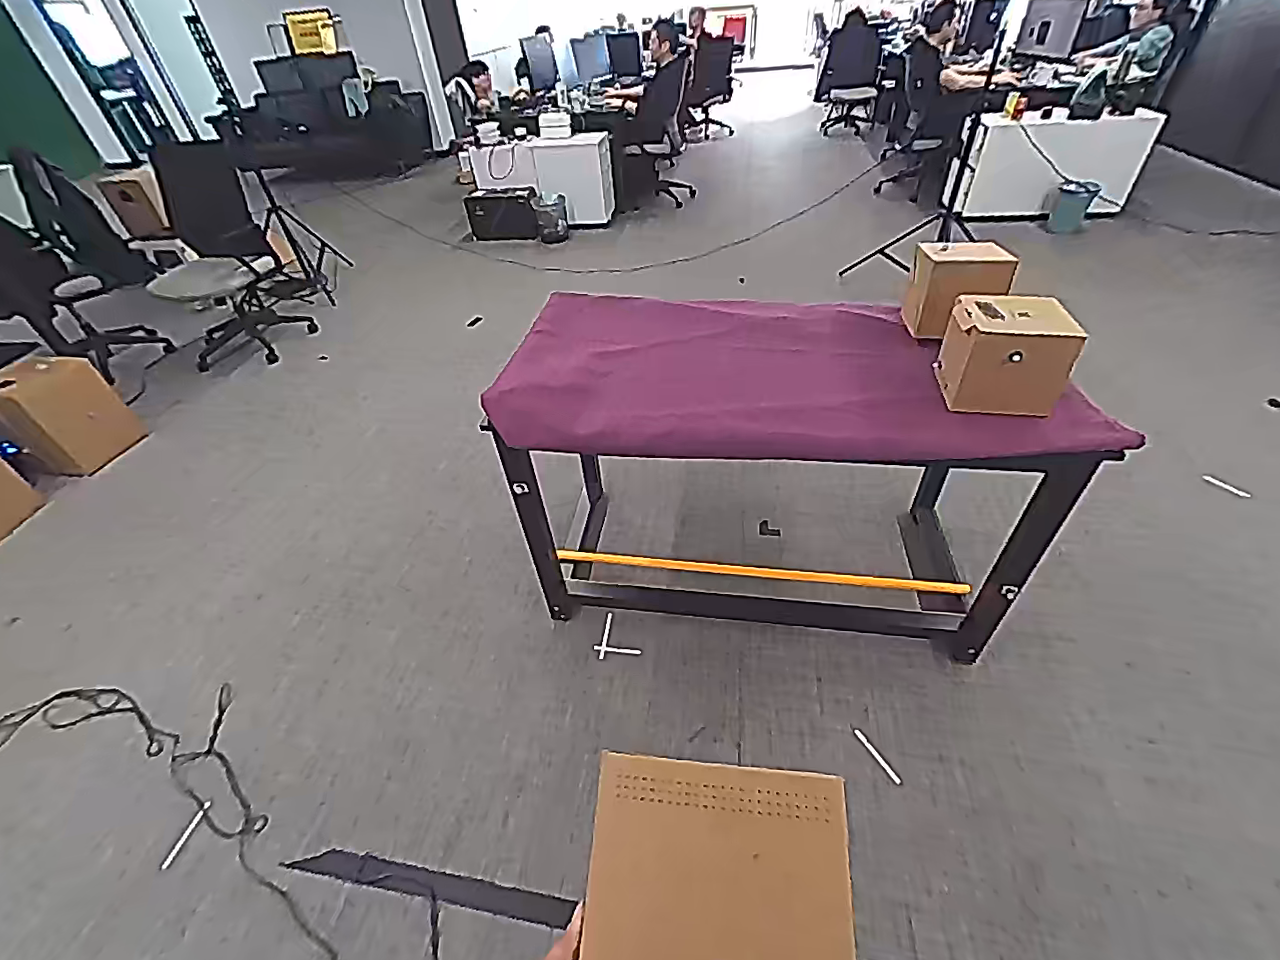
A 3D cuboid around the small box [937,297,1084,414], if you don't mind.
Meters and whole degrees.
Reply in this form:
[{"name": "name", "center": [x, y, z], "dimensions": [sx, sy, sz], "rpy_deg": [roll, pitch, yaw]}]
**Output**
[{"name": "small box", "center": [0.700, -0.242, 1.052], "dimensions": [0.179, 0.176, 0.168], "rpy_deg": [5, 41, 11]}]
